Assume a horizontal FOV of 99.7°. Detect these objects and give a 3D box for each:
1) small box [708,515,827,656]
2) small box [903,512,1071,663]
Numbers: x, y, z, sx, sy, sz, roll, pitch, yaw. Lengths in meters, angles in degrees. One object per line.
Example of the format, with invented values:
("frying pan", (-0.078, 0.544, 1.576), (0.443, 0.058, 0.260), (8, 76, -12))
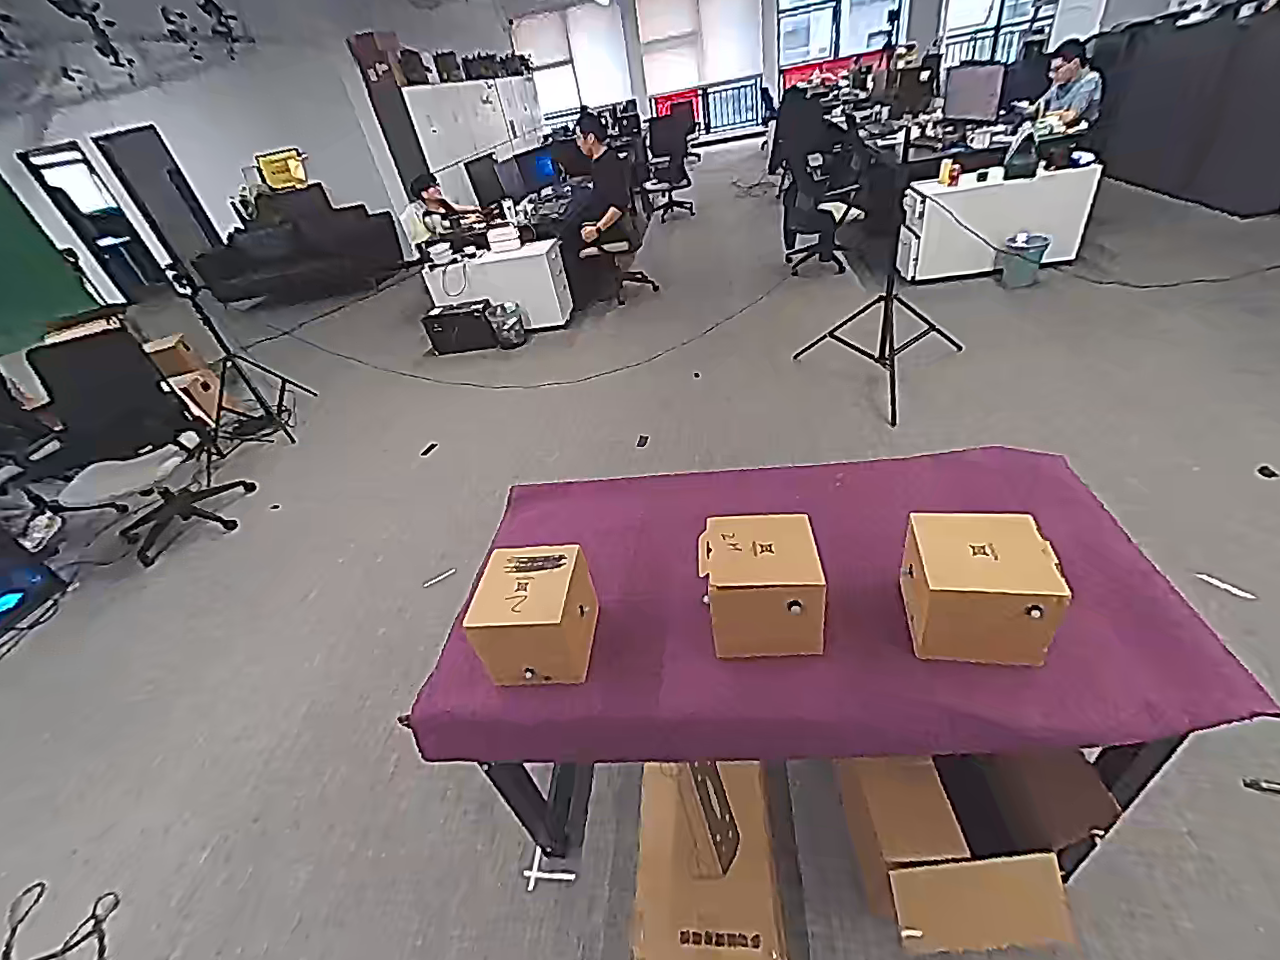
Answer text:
("small box", (0.209, 0.179, 0.915), (0.179, 0.176, 0.168), (-5, 34, 9))
("small box", (0.520, 0.167, 0.845), (0.179, 0.176, 0.168), (-1, 38, 15))
